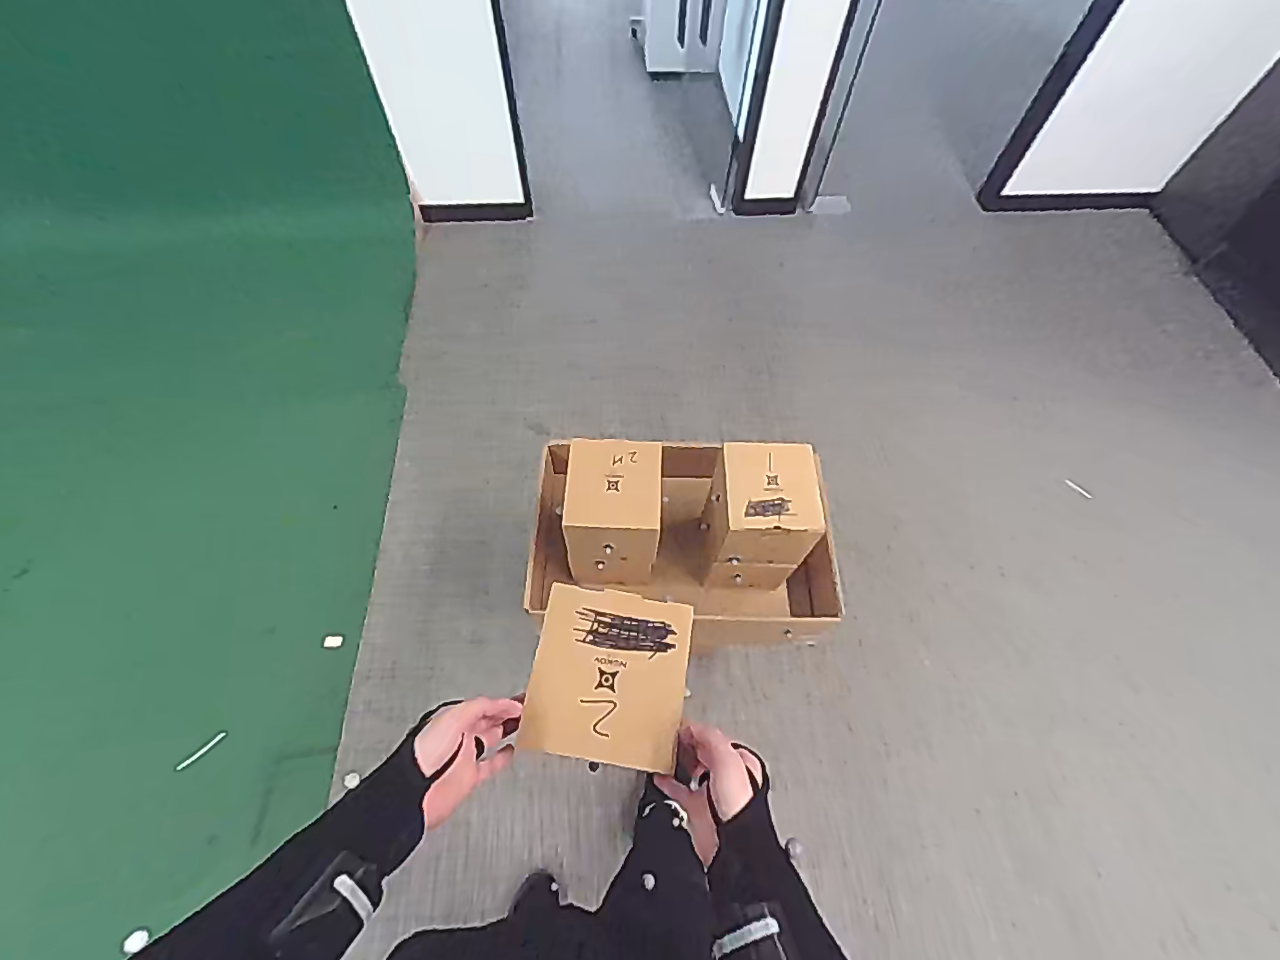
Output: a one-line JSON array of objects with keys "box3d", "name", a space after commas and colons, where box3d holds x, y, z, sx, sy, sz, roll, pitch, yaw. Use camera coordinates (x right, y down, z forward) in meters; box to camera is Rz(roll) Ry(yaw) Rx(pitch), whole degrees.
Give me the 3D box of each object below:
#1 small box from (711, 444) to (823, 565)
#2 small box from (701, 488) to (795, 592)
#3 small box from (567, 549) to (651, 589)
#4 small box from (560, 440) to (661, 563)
[{"box3d": [0.227, 0.052, 1.013, 0.168, 0.176, 0.179, 2, 60, -1], "name": "small box"}, {"box3d": [0.222, 0.133, 1.156, 0.168, 0.176, 0.179, 2, 61, 0], "name": "small box"}, {"box3d": [-0.056, 0.118, 1.153, 0.168, 0.176, 0.179, 3, 61, 2], "name": "small box"}, {"box3d": [-0.049, 0.046, 1.006, 0.168, 0.176, 0.179, 3, 61, -1], "name": "small box"}]
